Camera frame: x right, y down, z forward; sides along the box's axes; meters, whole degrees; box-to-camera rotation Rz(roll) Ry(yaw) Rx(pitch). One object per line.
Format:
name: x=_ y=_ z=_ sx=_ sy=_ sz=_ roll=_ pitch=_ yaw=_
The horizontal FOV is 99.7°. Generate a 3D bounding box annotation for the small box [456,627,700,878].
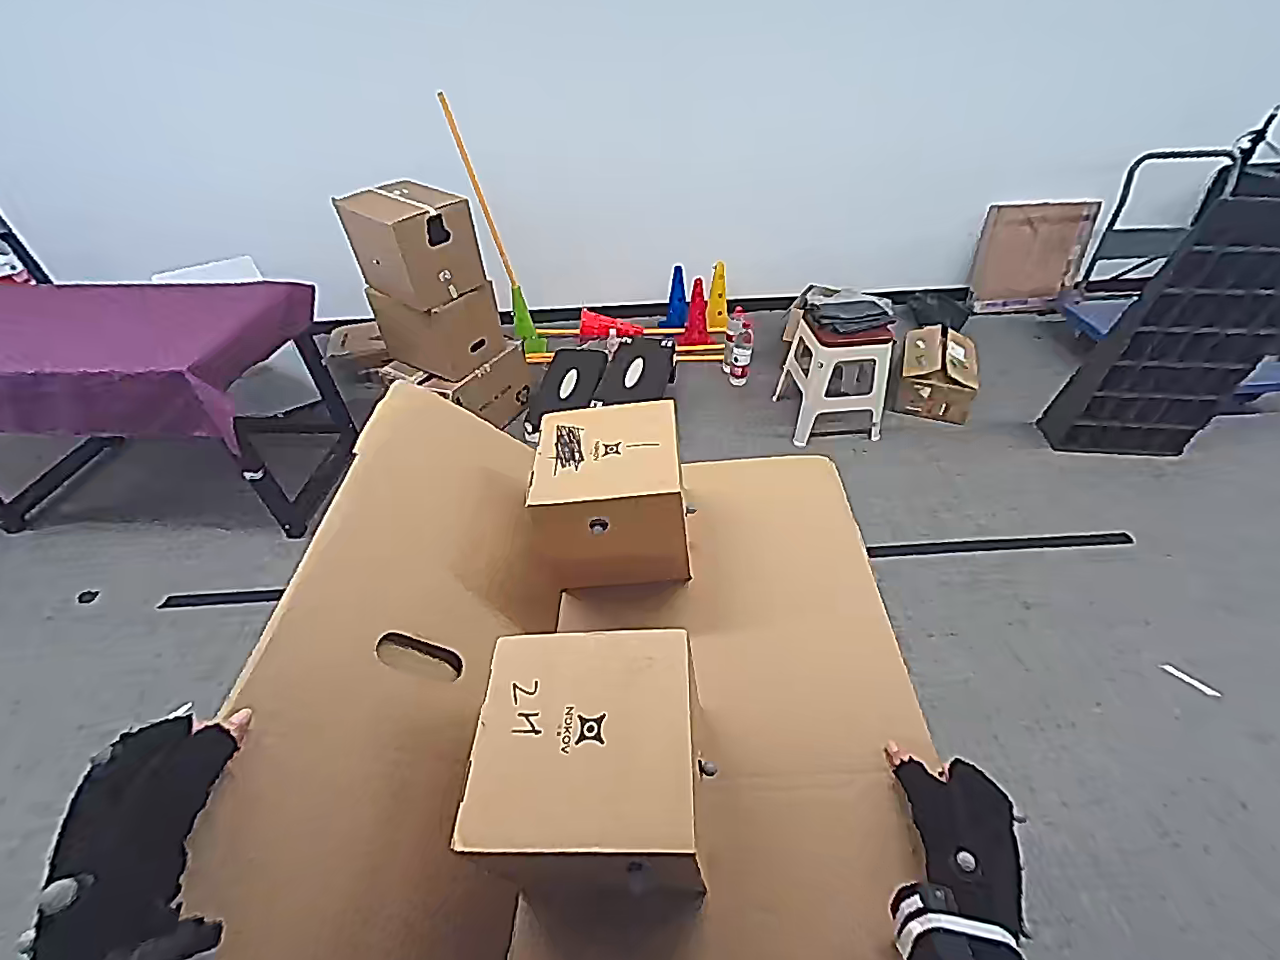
small box: x=-0.035 y=0.251 z=0.497 sx=0.179 sy=0.176 sz=0.168 roll=-4 pitch=45 yaw=8

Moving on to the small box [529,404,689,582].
small box: x=-0.031 y=0.022 z=0.721 sx=0.179 sy=0.176 sz=0.168 roll=-5 pitch=46 yaw=5
